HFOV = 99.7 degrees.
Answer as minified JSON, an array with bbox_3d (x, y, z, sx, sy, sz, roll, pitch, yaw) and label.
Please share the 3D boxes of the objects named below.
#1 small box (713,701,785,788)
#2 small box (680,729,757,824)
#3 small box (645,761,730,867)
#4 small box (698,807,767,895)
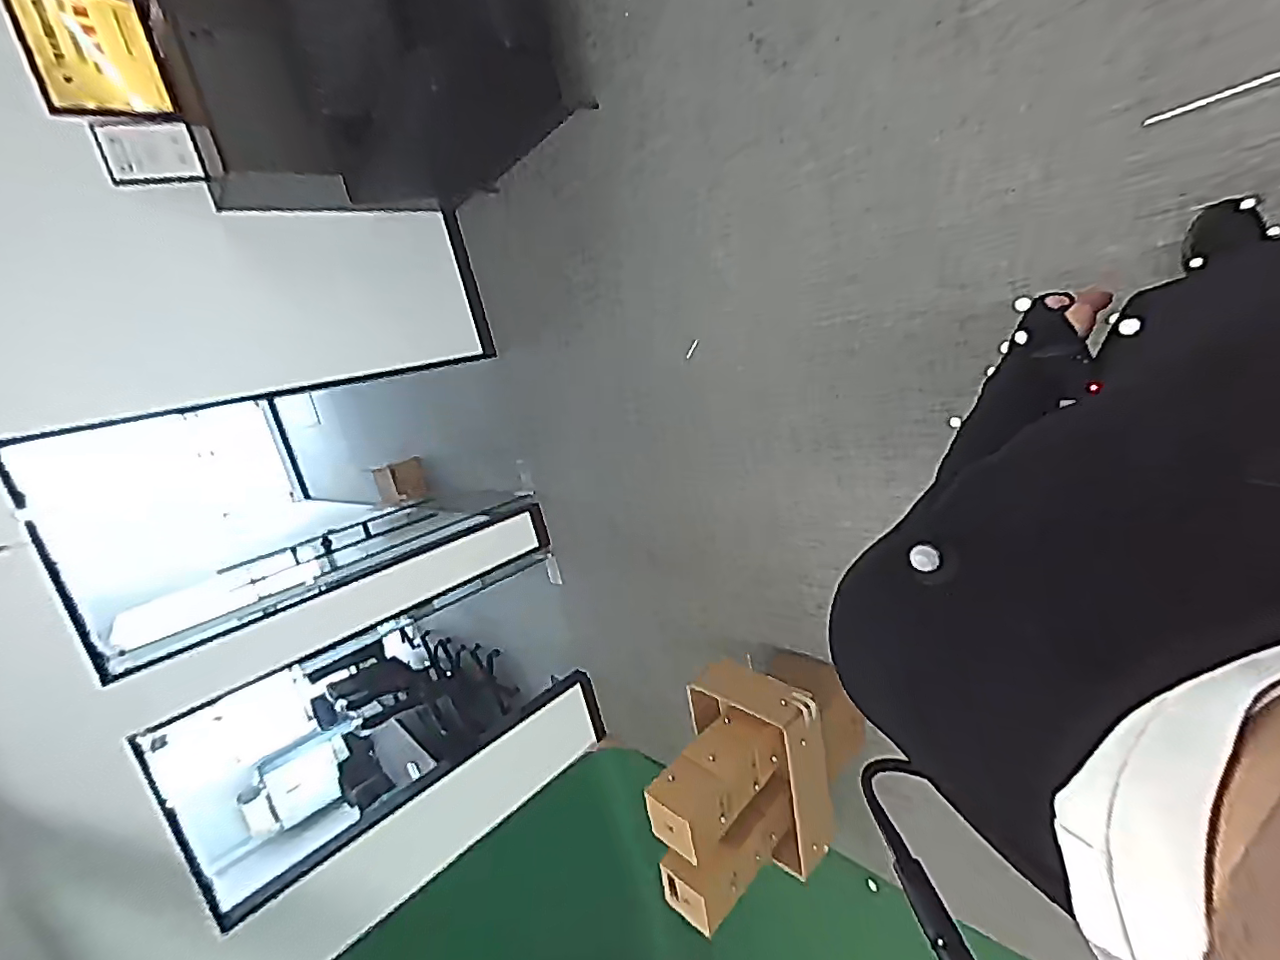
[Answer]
[{"bbox_3d":[0.372,0.876,1.811,0.179,0.176,0.168,7,113,47],"label":"small box"},{"bbox_3d":[0.254,0.925,1.707,0.179,0.176,0.168,7,112,47],"label":"small box"},{"bbox_3d":[0.141,0.974,1.600,0.179,0.176,0.168,7,113,46],"label":"small box"},{"bbox_3d":[0.302,1.187,1.774,0.179,0.176,0.168,8,112,46],"label":"small box"}]
